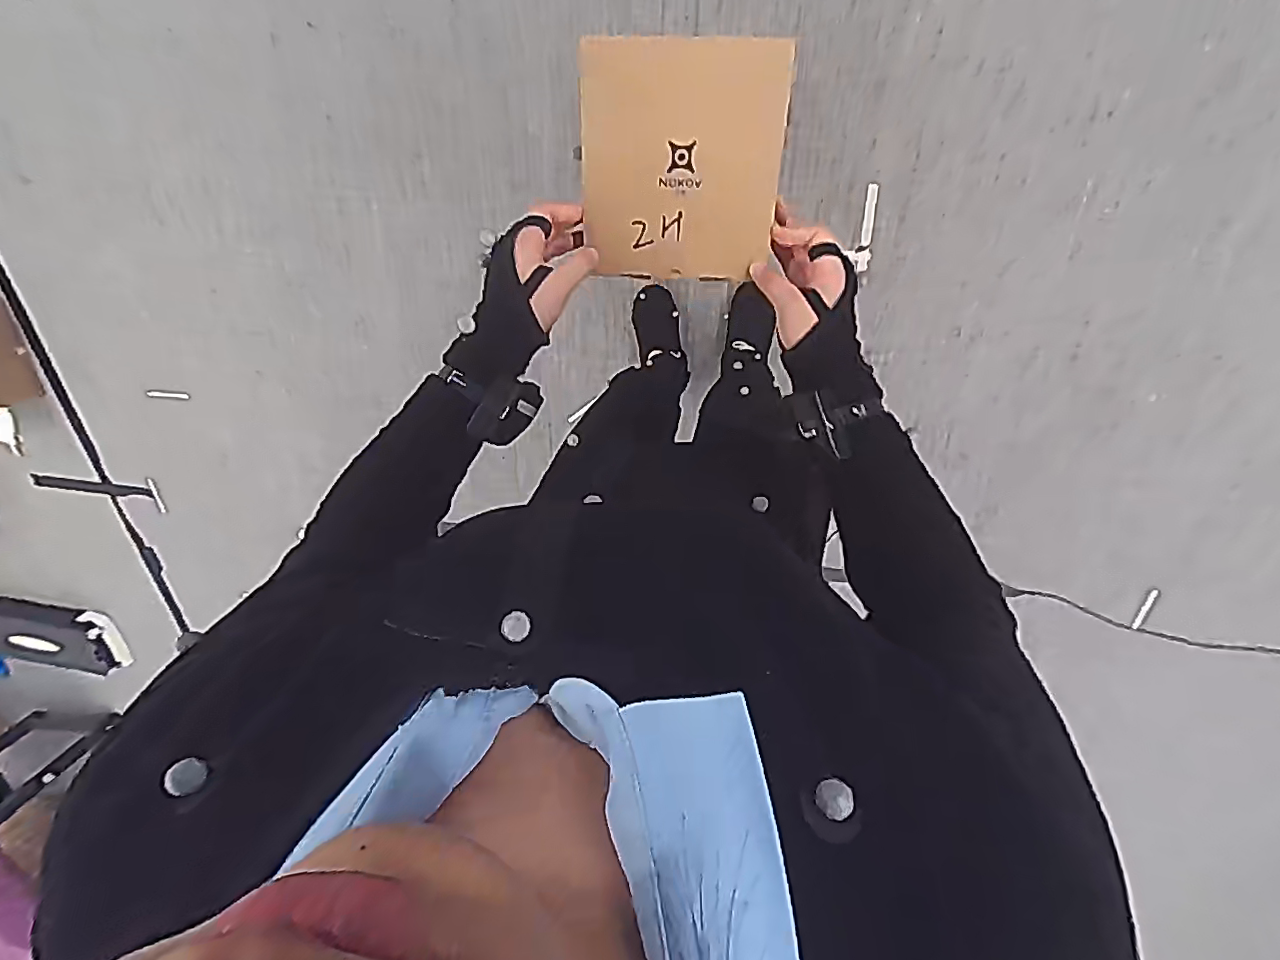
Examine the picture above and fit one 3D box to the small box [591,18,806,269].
[{"bbox_3d":[0.047,-0.306,0.514,0.168,0.176,0.179,3,120,4],"label":"small box"}]
